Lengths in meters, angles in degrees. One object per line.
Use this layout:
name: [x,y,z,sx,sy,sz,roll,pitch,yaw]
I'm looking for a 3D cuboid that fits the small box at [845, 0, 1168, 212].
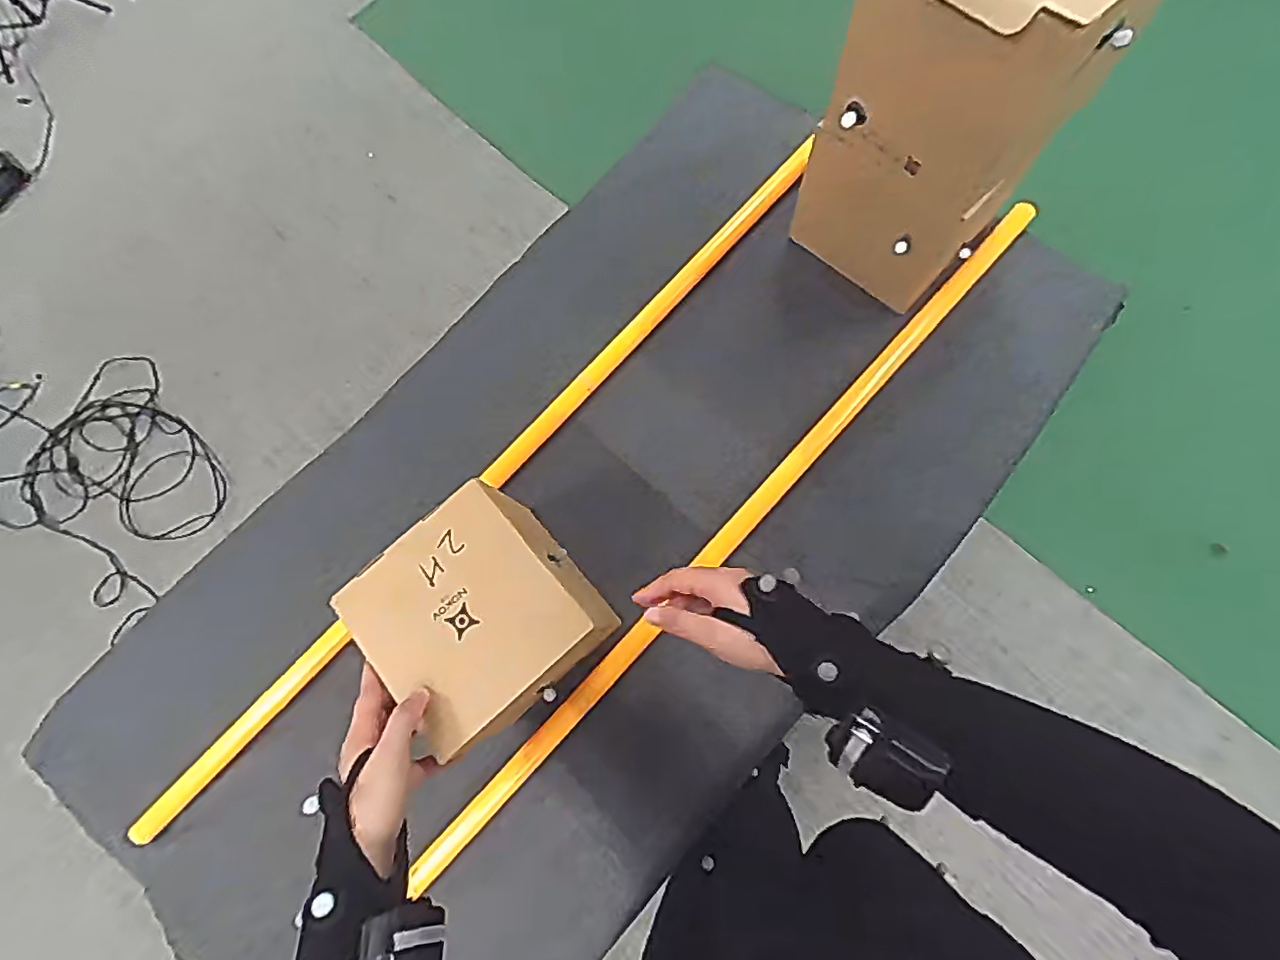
small box: [0.291,-0.363,0.435,0.179,0.176,0.168,-42,76,-5]
